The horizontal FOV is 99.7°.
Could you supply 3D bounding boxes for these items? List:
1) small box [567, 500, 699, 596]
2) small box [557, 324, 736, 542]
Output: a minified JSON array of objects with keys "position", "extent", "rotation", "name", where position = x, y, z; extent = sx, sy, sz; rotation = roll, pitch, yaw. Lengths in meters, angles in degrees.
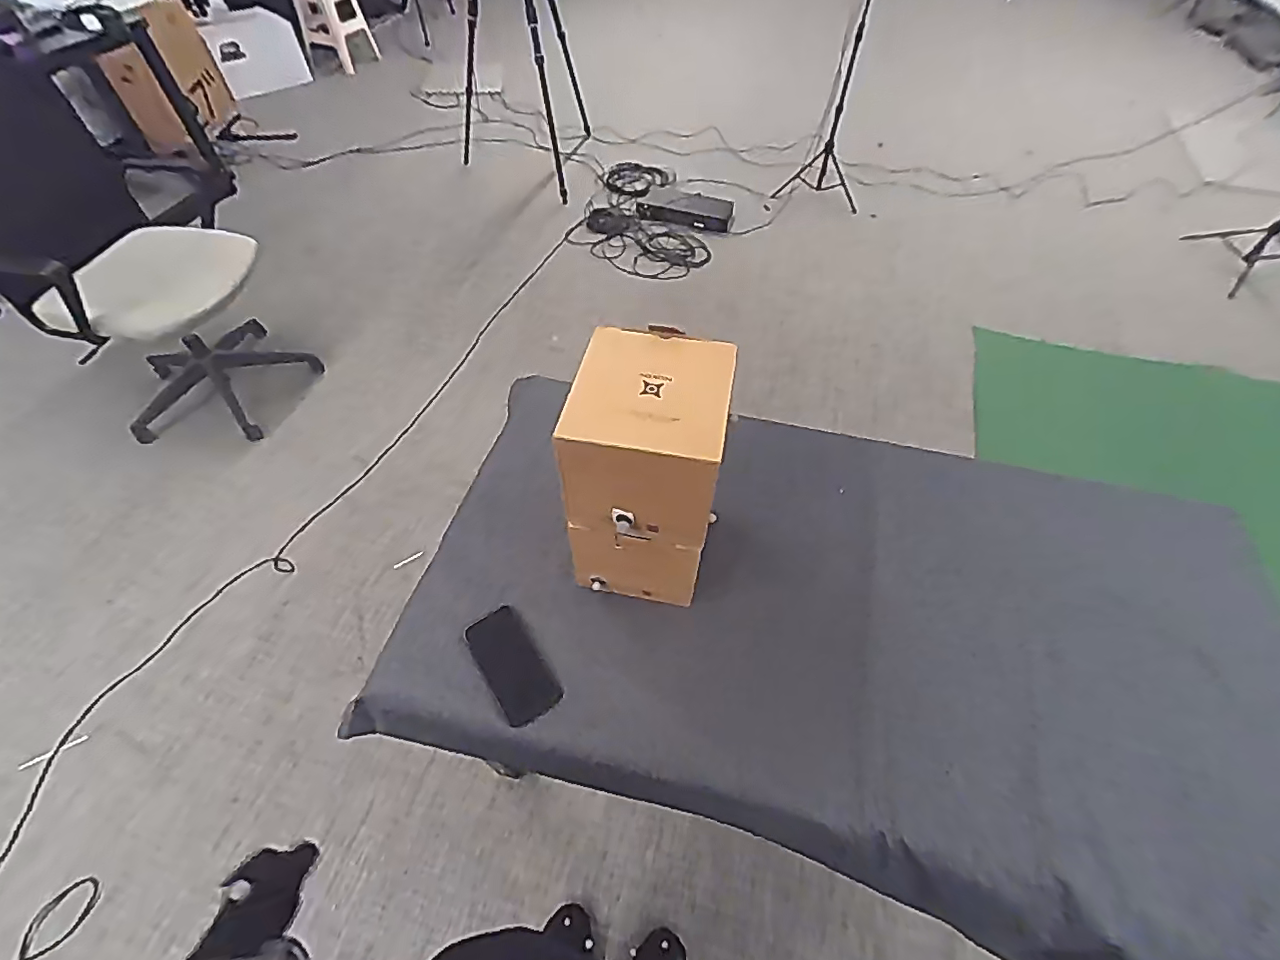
[{"position":[0.005,0.044,0.763],"extent":[0.168,0.176,0.179],"rotation":[10,53,6],"name":"small box"},{"position":[0.011,-0.052,0.633],"extent":[0.168,0.176,0.179],"rotation":[9,55,6],"name":"small box"}]
